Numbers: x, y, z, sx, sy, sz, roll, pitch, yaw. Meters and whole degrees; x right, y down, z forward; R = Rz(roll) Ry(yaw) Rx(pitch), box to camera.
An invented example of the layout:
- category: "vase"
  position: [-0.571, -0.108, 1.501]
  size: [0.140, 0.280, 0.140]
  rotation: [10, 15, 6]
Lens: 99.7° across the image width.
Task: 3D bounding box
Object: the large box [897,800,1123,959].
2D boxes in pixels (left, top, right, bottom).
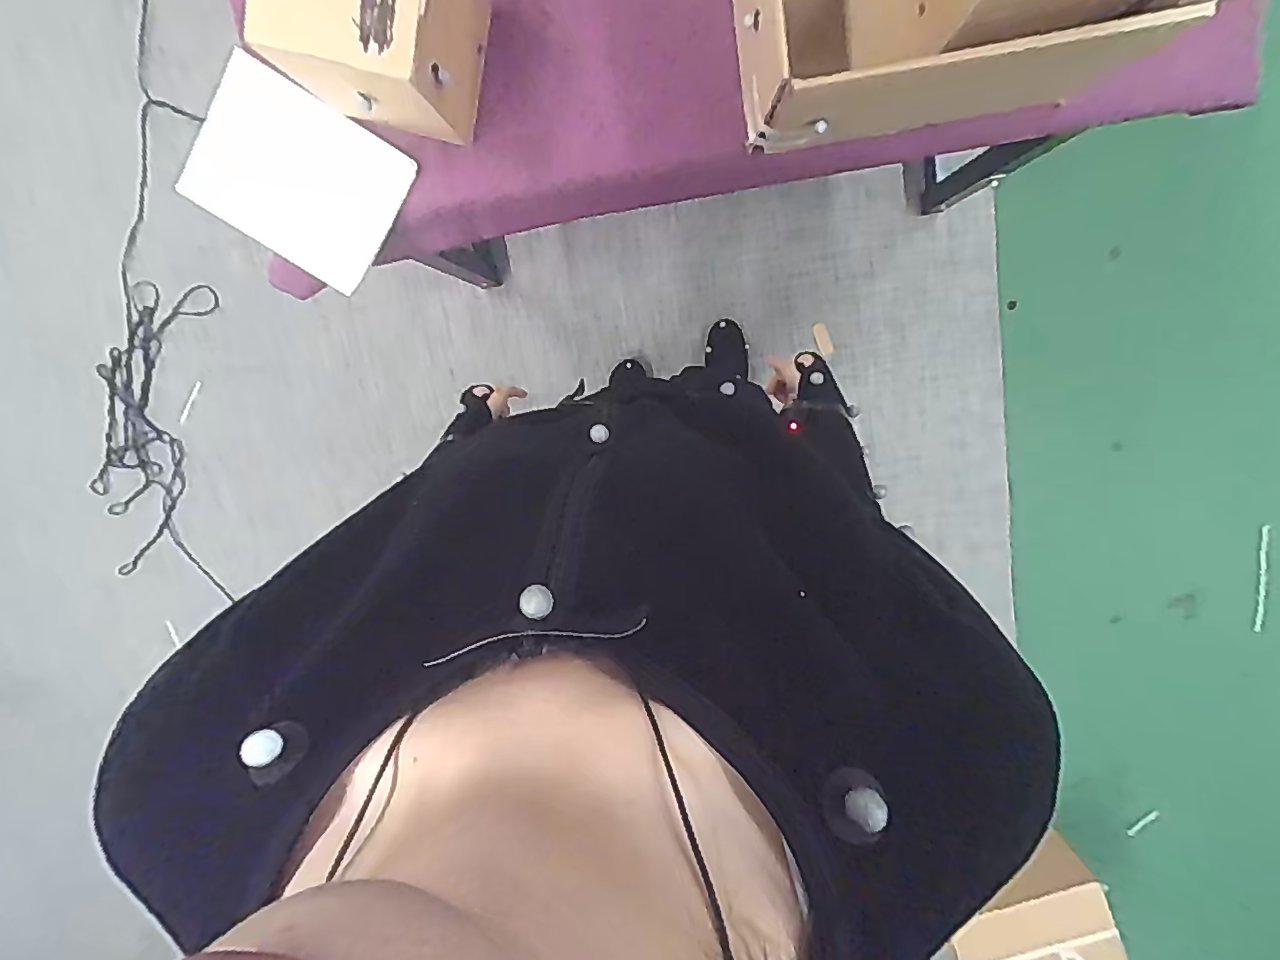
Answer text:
- category: "large box"
  position: [1.034, 1.213, 1.547]
  size: [0.408, 0.320, 0.320]
  rotation: [-23, 100, 6]
